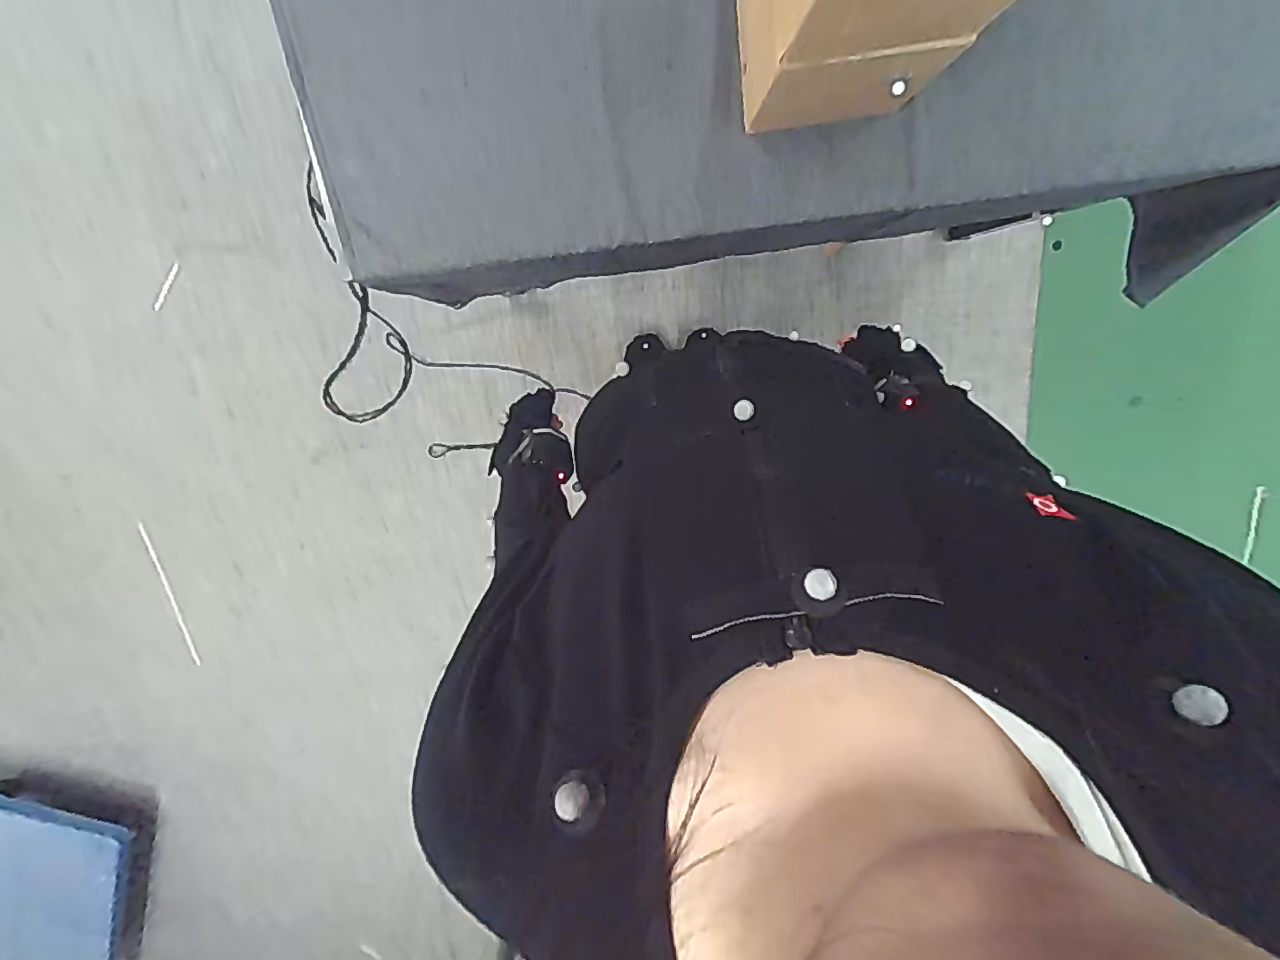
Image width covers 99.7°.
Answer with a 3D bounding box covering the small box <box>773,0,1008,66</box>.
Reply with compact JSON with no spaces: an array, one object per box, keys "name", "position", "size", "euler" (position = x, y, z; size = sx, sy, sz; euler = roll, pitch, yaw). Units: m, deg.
[{"name":"small box","position":[0.199,-0.434,0.382],"size":[0.179,0.176,0.168],"euler":[-7,105,3]}]
